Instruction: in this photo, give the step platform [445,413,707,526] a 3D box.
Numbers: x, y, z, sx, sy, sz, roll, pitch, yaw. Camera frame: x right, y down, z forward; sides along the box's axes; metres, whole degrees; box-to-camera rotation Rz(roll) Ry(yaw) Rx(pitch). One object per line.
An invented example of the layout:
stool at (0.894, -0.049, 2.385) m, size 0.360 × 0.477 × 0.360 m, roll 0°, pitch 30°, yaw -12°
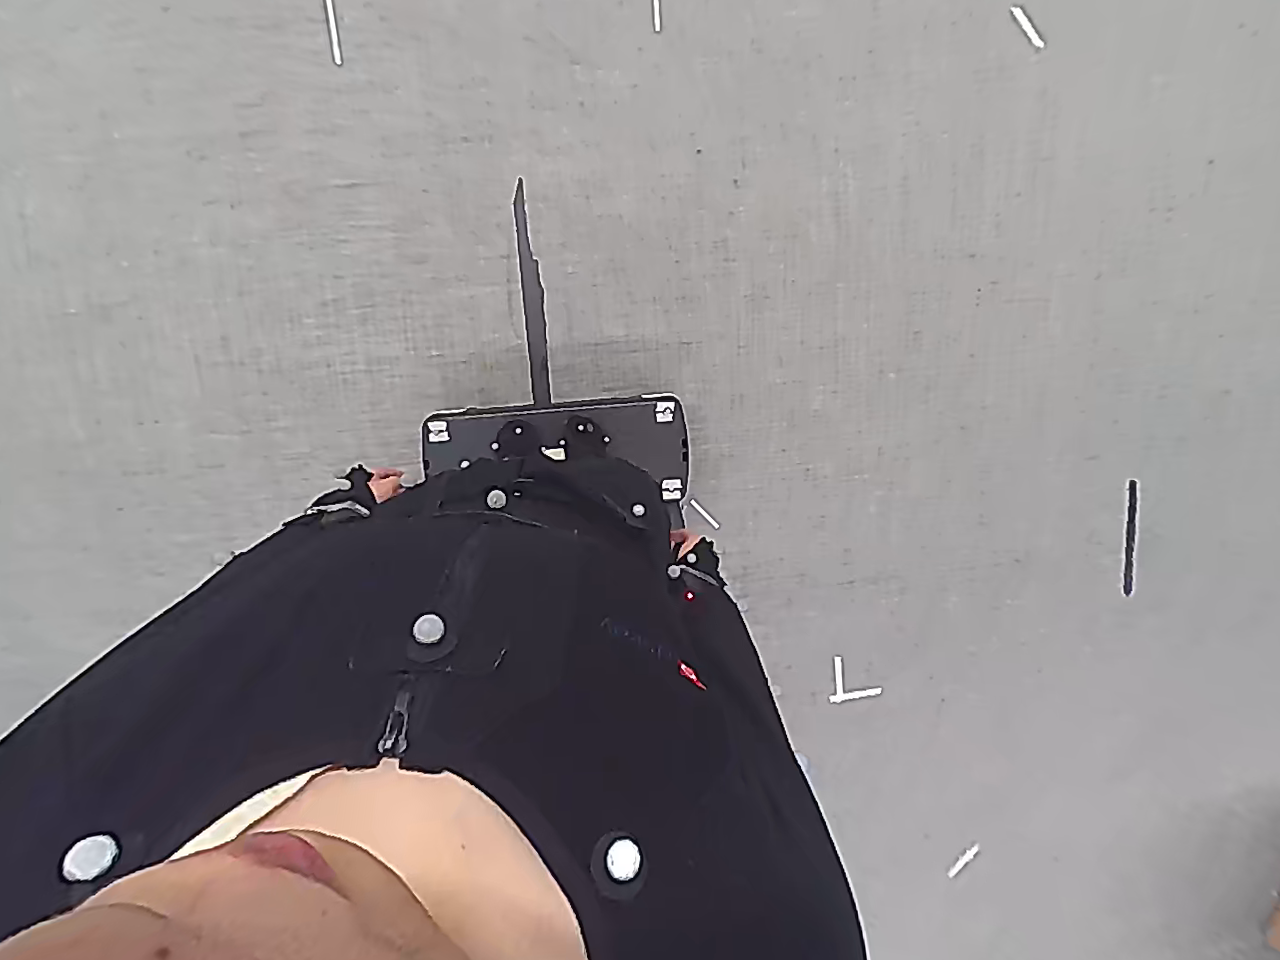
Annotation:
step platform at (-0.163, -0.035, 1.454) m, size 0.684 × 0.204 × 0.286 m, roll -1°, pitch 98°, yaw -6°
